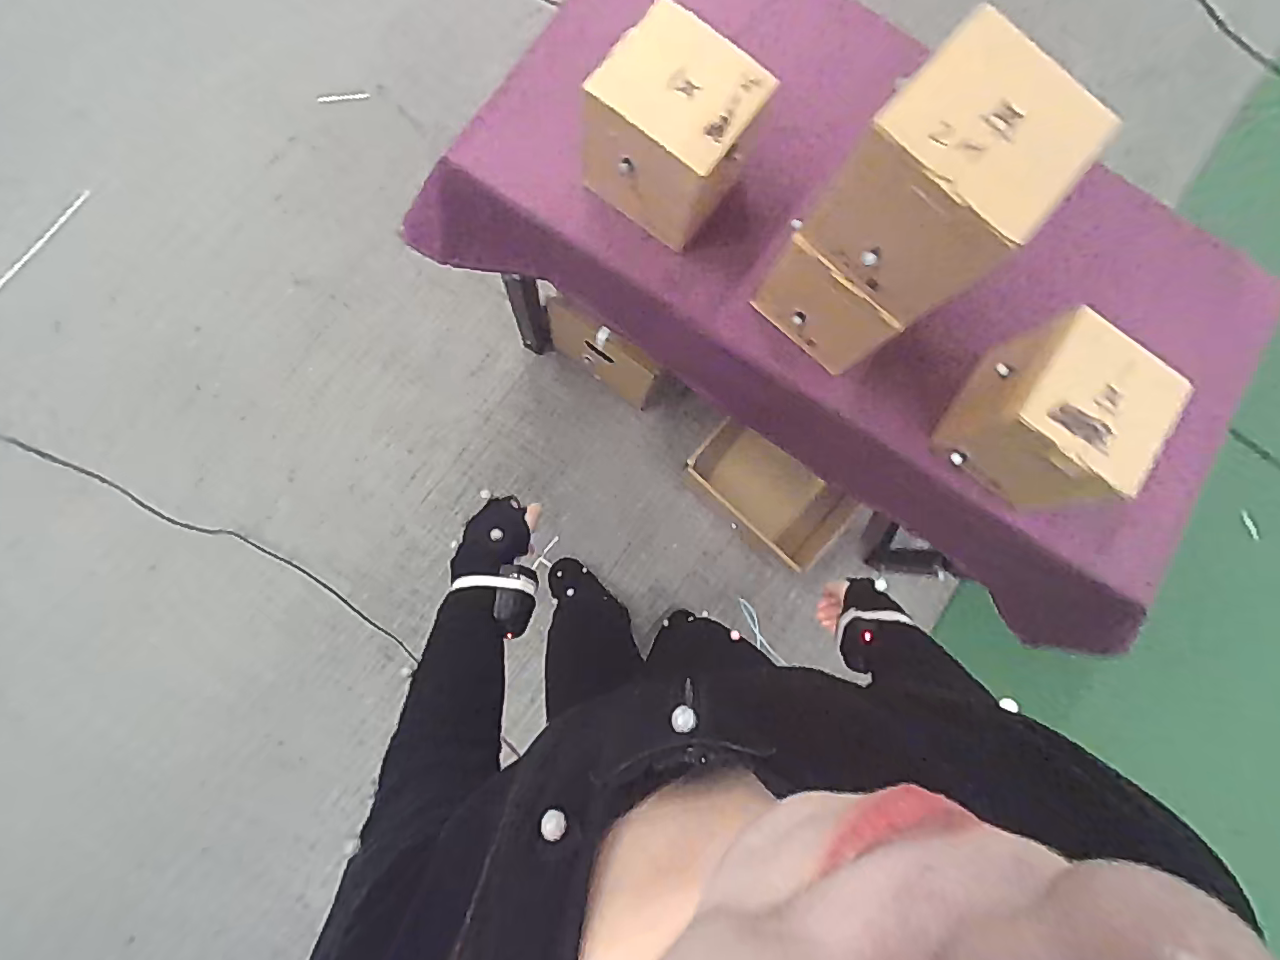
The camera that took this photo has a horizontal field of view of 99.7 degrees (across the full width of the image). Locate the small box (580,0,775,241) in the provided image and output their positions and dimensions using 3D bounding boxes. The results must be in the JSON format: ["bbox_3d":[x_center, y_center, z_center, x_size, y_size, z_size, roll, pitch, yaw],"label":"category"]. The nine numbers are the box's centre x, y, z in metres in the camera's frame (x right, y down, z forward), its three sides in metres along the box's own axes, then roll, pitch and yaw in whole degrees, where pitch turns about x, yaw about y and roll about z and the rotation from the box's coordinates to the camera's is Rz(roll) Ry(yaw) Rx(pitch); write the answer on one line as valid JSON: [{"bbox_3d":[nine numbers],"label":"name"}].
[{"bbox_3d":[0.039,-0.457,0.709,0.179,0.176,0.168,36,82,0],"label":"small box"}]

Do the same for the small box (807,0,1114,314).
[{"bbox_3d":[0.305,-0.310,0.554,0.168,0.176,0.179,42,82,1],"label":"small box"}]

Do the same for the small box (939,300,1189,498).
[{"bbox_3d":[0.539,-0.092,0.716,0.168,0.176,0.179,36,81,0],"label":"small box"}]

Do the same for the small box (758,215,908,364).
[{"bbox_3d":[0.284,-0.287,0.716,0.168,0.176,0.179,41,82,0],"label":"small box"}]
